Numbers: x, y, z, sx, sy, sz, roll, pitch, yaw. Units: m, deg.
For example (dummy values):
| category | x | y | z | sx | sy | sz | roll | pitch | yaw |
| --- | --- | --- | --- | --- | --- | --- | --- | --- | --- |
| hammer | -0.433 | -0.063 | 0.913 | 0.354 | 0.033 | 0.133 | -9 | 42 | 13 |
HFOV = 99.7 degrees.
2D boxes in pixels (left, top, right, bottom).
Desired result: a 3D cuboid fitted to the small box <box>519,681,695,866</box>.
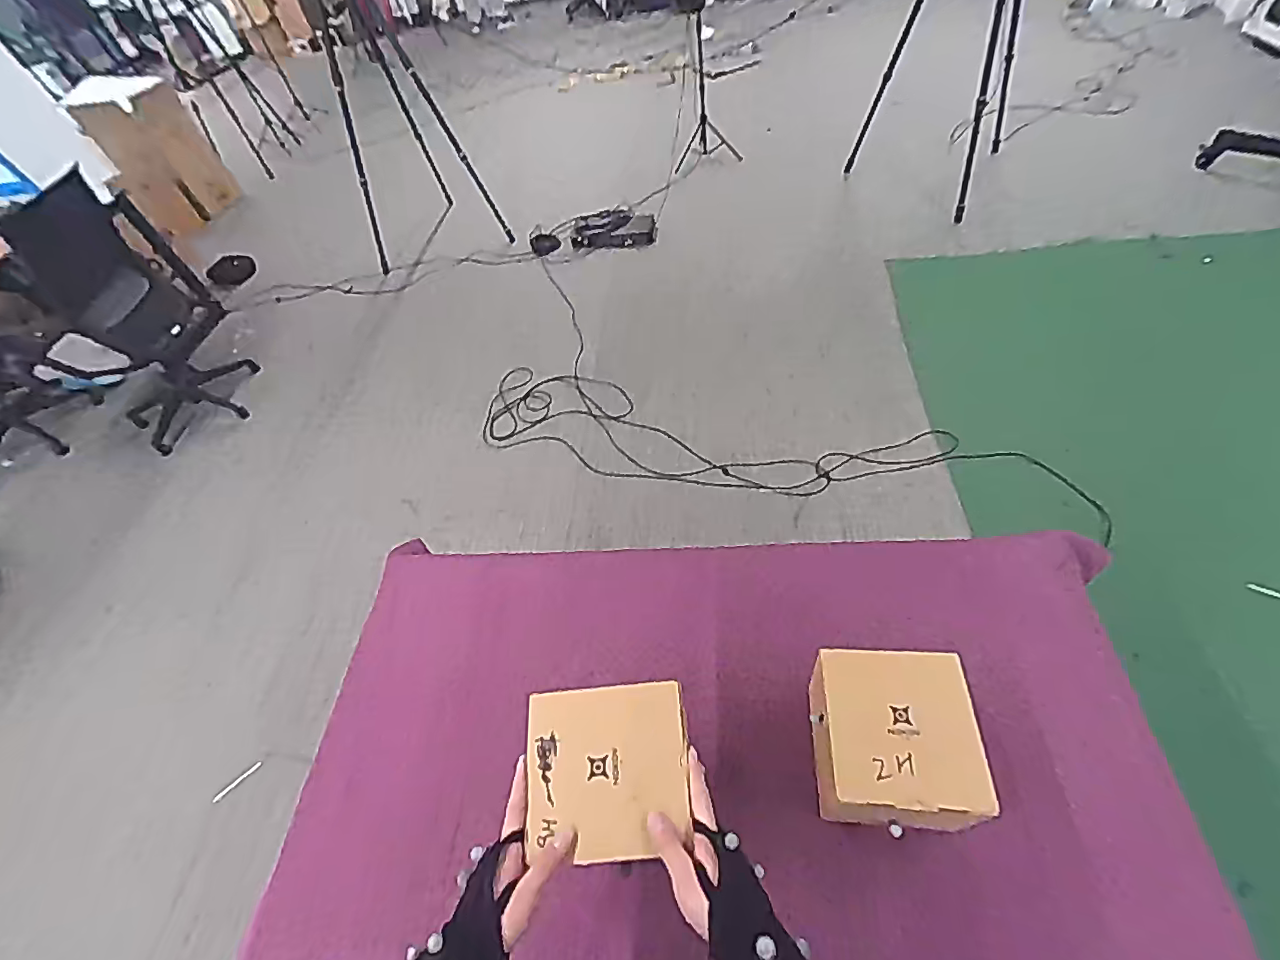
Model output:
| category | x | y | z | sx | sy | sz | roll | pitch | yaw |
| --- | --- | --- | --- | --- | --- | --- | --- | --- | --- |
| small box | -0.031 | 0.346 | 0.637 | 0.179 | 0.176 | 0.168 | -6 | 56 | 2 |

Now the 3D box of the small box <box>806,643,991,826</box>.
| category | x | y | z | sx | sy | sz | roll | pitch | yaw |
| --- | --- | --- | --- | --- | --- | --- | --- | --- | --- |
| small box | 0.312 | 0.328 | 0.697 | 0.168 | 0.176 | 0.179 | -1 | 53 | 11 |
